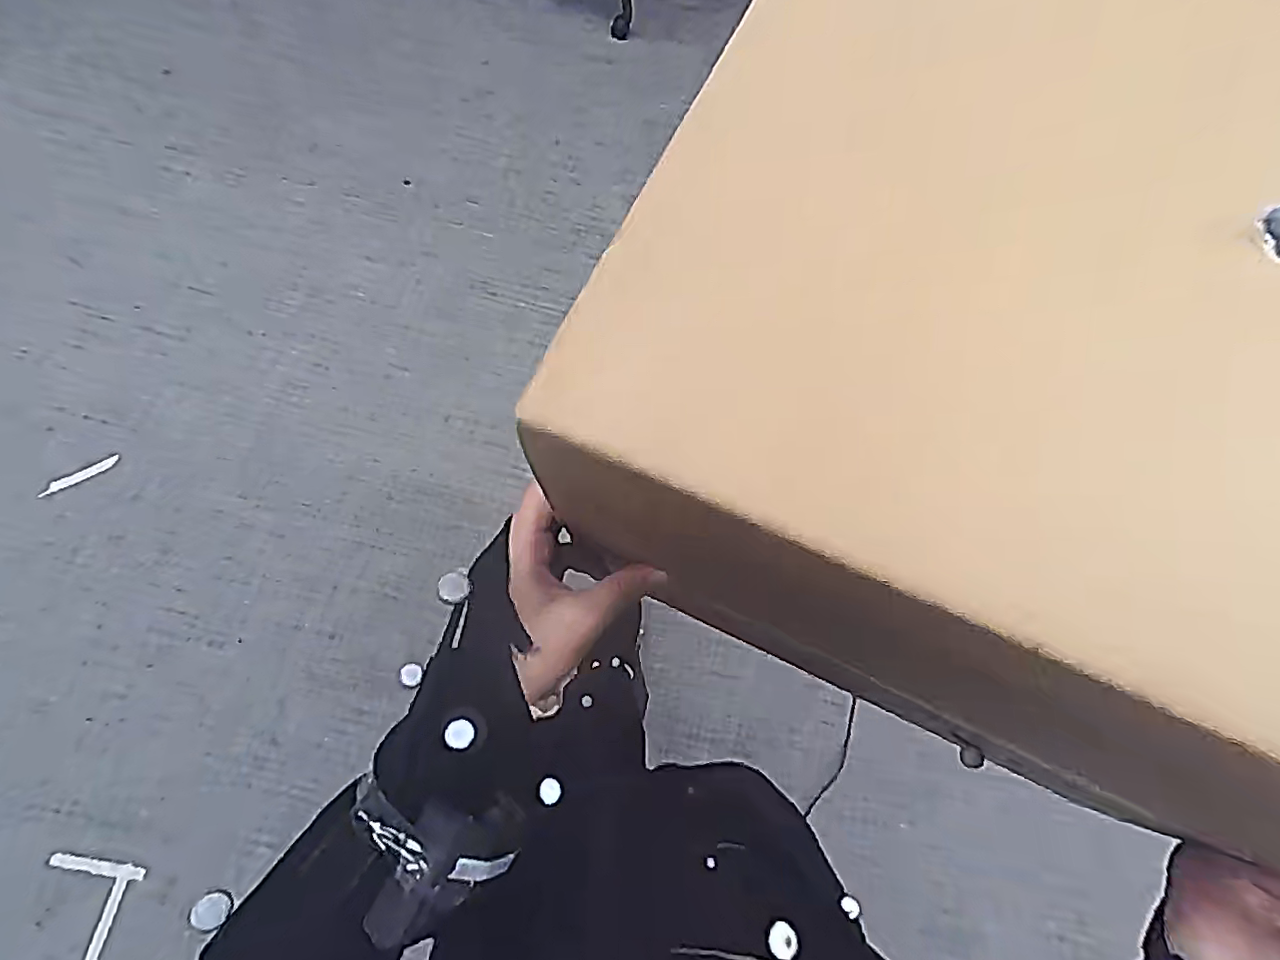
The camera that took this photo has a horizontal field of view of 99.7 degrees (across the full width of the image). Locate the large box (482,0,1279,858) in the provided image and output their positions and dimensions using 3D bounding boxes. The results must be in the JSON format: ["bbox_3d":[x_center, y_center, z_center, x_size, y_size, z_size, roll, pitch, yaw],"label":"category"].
[{"bbox_3d":[0.189,-0.034,0.318,0.408,0.320,0.320,23,75,6],"label":"large box"}]
